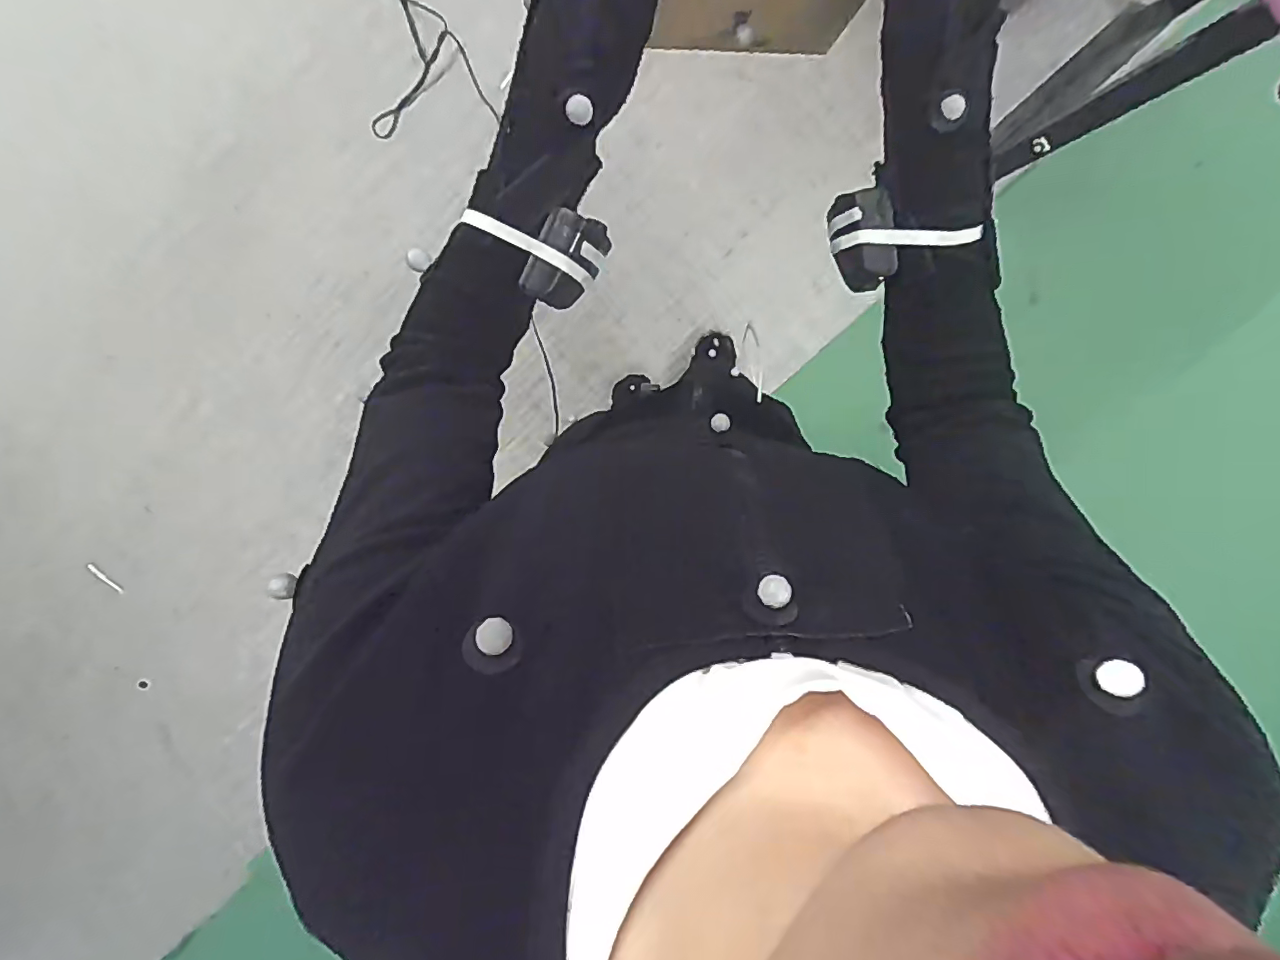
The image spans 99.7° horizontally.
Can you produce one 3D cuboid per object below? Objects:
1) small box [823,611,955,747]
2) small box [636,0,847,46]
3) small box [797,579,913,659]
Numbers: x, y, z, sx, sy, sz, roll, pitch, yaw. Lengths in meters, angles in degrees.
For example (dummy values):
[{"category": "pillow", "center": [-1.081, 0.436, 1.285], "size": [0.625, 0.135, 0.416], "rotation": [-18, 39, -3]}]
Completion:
[{"category": "small box", "center": [0.519, 0.420, 1.163], "size": [0.179, 0.176, 0.168], "rotation": [-43, 99, 7]}, {"category": "small box", "center": [0.081, -0.440, 0.365], "size": [0.168, 0.176, 0.179], "rotation": [2, 107, -1]}, {"category": "small box", "center": [0.516, 0.374, 1.322], "size": [0.179, 0.176, 0.168], "rotation": [-42, 99, 8]}]
